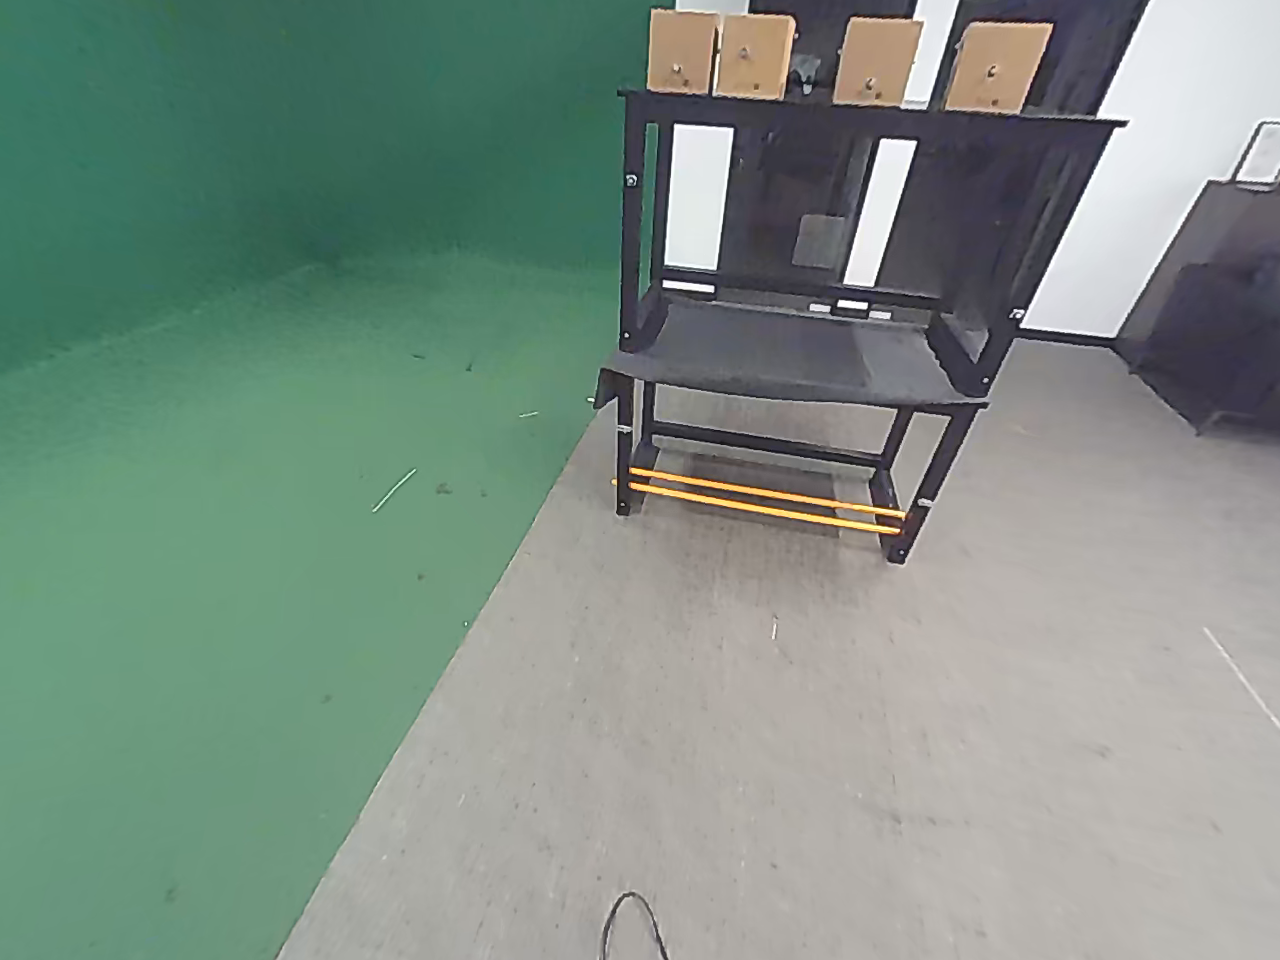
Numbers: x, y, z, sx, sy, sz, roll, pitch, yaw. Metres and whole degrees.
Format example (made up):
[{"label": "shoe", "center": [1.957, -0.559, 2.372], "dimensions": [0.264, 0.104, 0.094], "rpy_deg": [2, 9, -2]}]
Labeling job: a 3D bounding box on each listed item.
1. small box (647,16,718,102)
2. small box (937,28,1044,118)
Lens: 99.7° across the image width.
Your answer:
[{"label": "small box", "center": [0.114, -1.140, 1.470], "dimensions": [0.168, 0.176, 0.179], "rpy_deg": [9, 38, 7]}, {"label": "small box", "center": [0.853, -1.001, 1.335], "dimensions": [0.168, 0.176, 0.179], "rpy_deg": [15, 38, 15]}]
